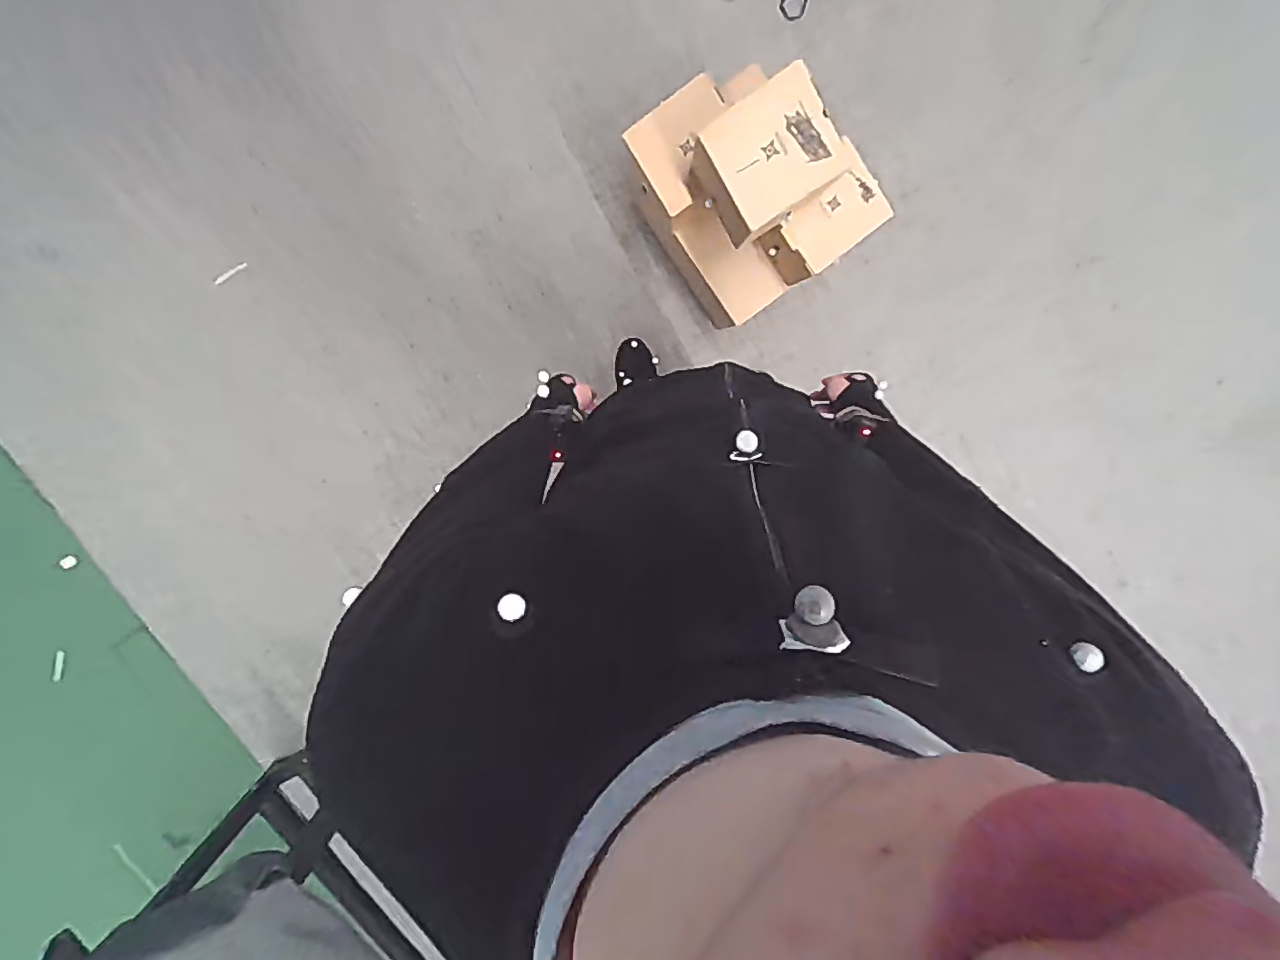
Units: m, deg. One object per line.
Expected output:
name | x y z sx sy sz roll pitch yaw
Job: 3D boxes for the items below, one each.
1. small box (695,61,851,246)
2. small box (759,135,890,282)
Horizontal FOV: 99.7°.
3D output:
small box | 0.202 -0.509 0.873 0.179 0.176 0.168 -31 101 11
small box | 0.335 -0.506 1.041 0.179 0.176 0.168 -36 101 9
